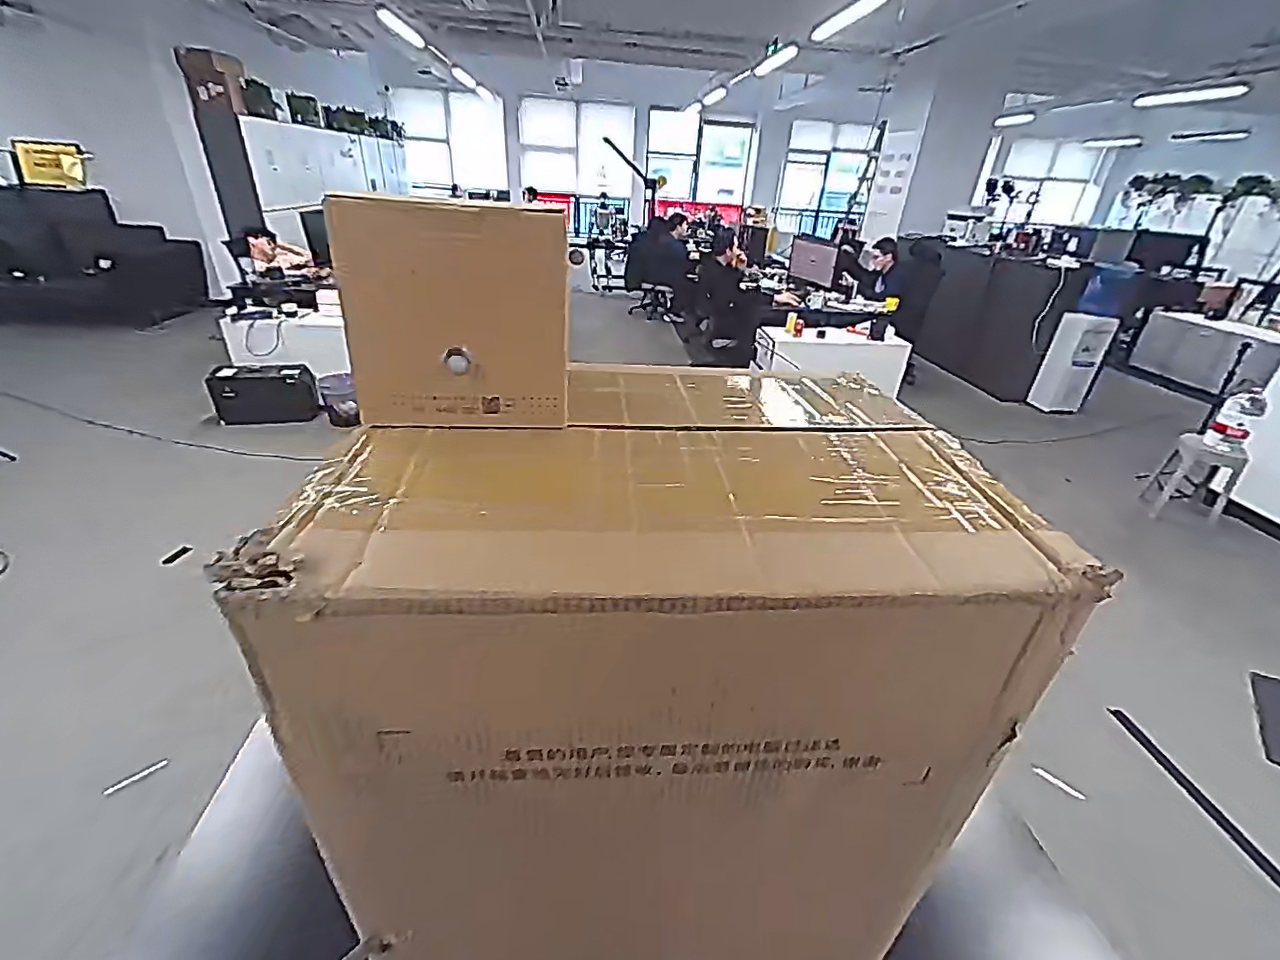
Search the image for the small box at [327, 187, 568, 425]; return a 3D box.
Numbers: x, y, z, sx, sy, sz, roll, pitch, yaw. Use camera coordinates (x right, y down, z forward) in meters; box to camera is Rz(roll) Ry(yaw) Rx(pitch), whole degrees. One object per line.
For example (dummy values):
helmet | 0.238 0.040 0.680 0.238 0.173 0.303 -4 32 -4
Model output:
small box | -0.149 -0.159 0.486 0.168 0.176 0.179 -1 27 -8
